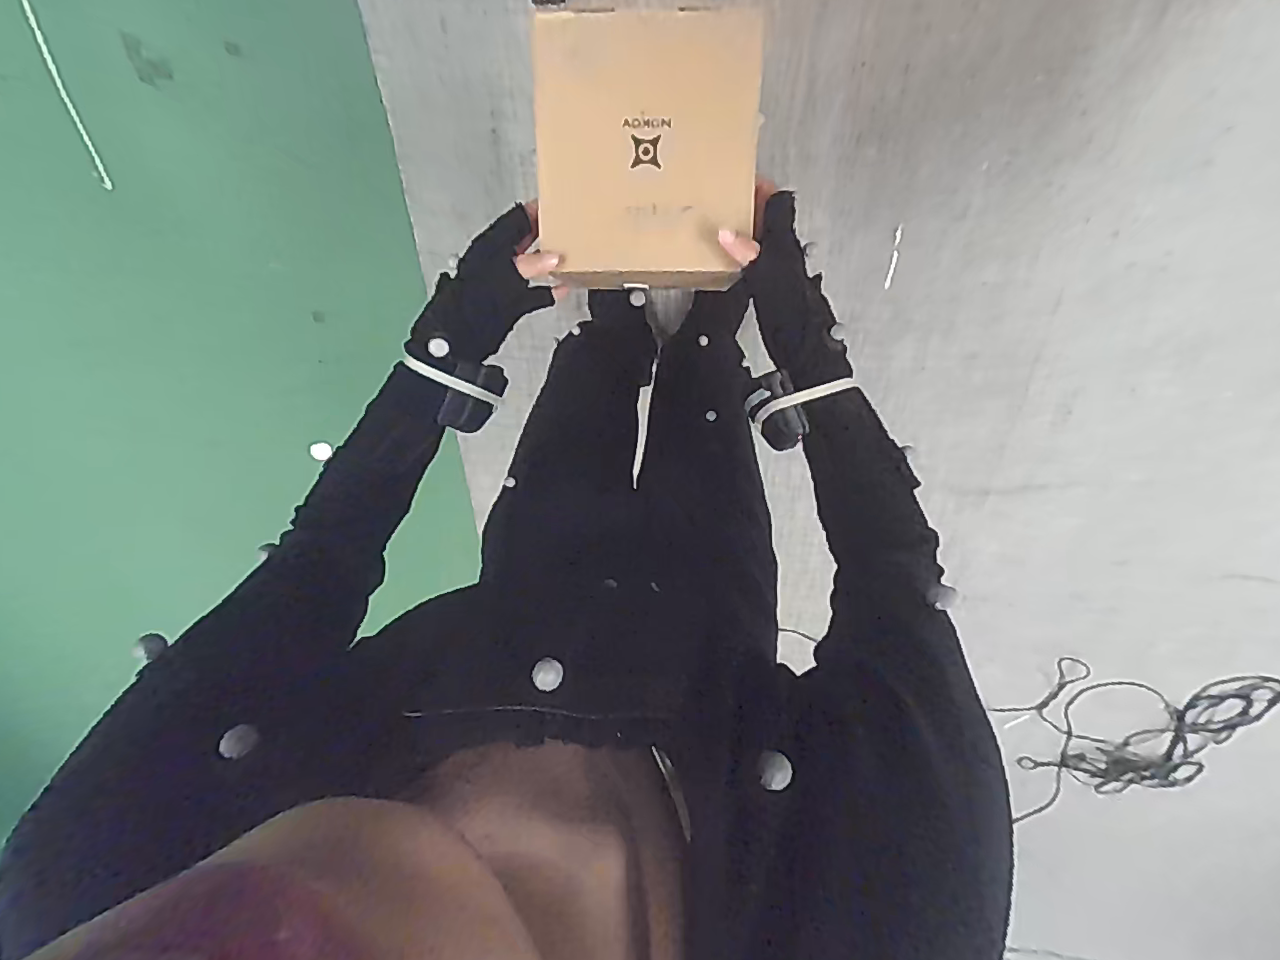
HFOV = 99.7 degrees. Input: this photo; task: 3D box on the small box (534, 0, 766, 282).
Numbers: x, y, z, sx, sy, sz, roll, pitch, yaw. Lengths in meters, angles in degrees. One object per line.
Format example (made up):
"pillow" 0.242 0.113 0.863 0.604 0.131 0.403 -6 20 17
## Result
"small box" 0.009 -0.275 0.471 0.168 0.176 0.179 1 105 4
